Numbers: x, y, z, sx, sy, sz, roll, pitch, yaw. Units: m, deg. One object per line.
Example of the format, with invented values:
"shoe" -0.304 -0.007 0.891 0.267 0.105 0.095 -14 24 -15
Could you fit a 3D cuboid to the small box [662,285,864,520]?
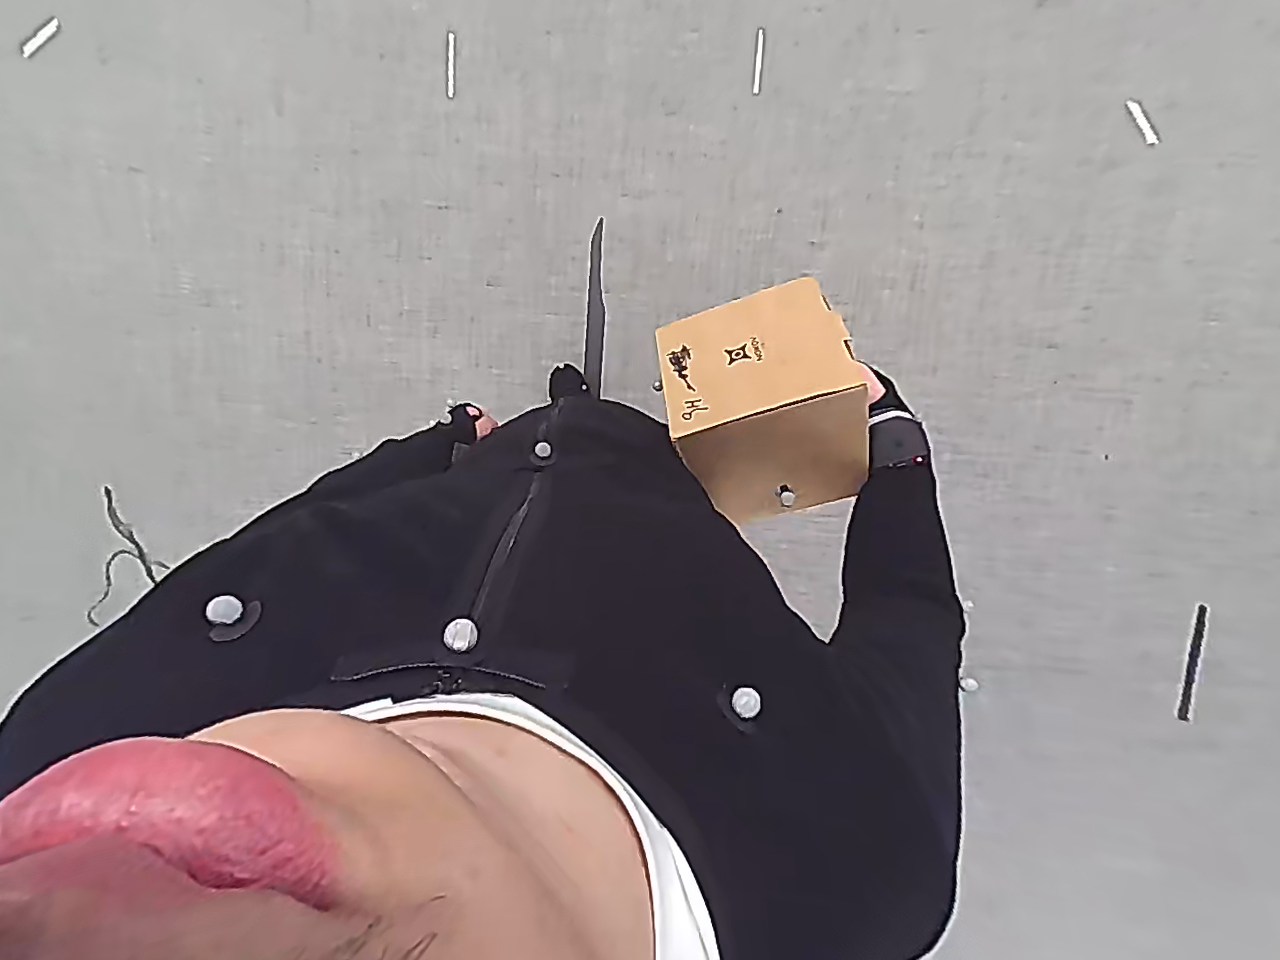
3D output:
"small box" 0.135 -0.078 0.602 0.179 0.168 0.176 -15 140 12
